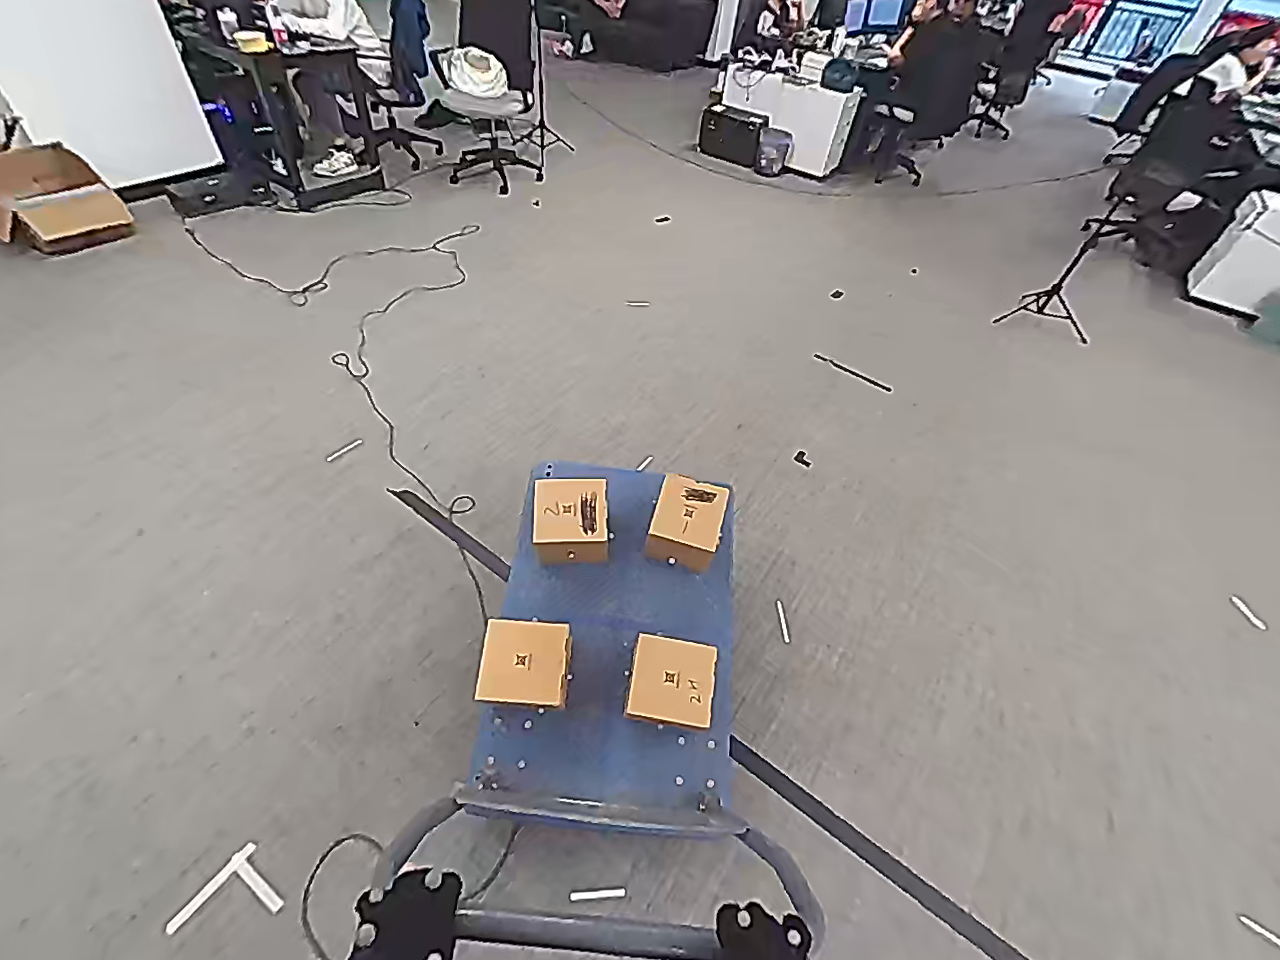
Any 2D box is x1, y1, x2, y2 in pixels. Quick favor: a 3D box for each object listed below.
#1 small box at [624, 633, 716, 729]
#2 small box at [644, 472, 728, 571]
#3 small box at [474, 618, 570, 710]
[{"bbox_3d":[0.062,0.454,1.207,0.179,0.176,0.168,11,63,0],"label":"small box"},{"bbox_3d":[0.114,0.110,1.387,0.168,0.176,0.179,17,64,3],"label":"small box"},{"bbox_3d":[-0.252,0.413,1.200,0.179,0.176,0.168,5,63,-4],"label":"small box"}]
